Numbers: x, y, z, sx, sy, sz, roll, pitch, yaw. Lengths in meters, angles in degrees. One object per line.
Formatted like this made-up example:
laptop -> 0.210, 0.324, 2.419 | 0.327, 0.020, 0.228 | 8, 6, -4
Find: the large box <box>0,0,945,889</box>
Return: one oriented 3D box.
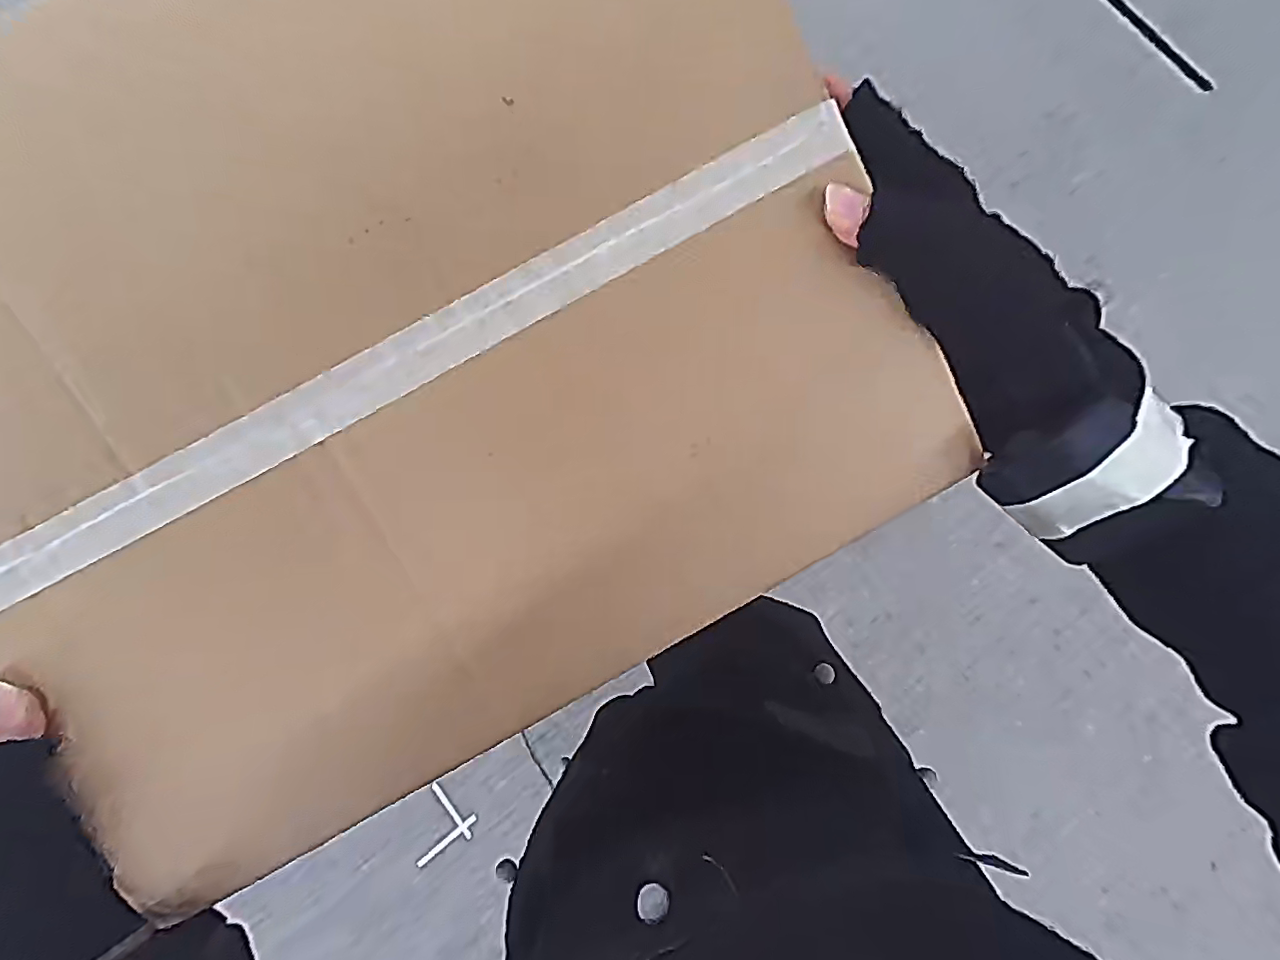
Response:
large box -> -0.111, -0.063, 0.369 | 0.408, 0.320, 0.320 | -29, 99, -2
